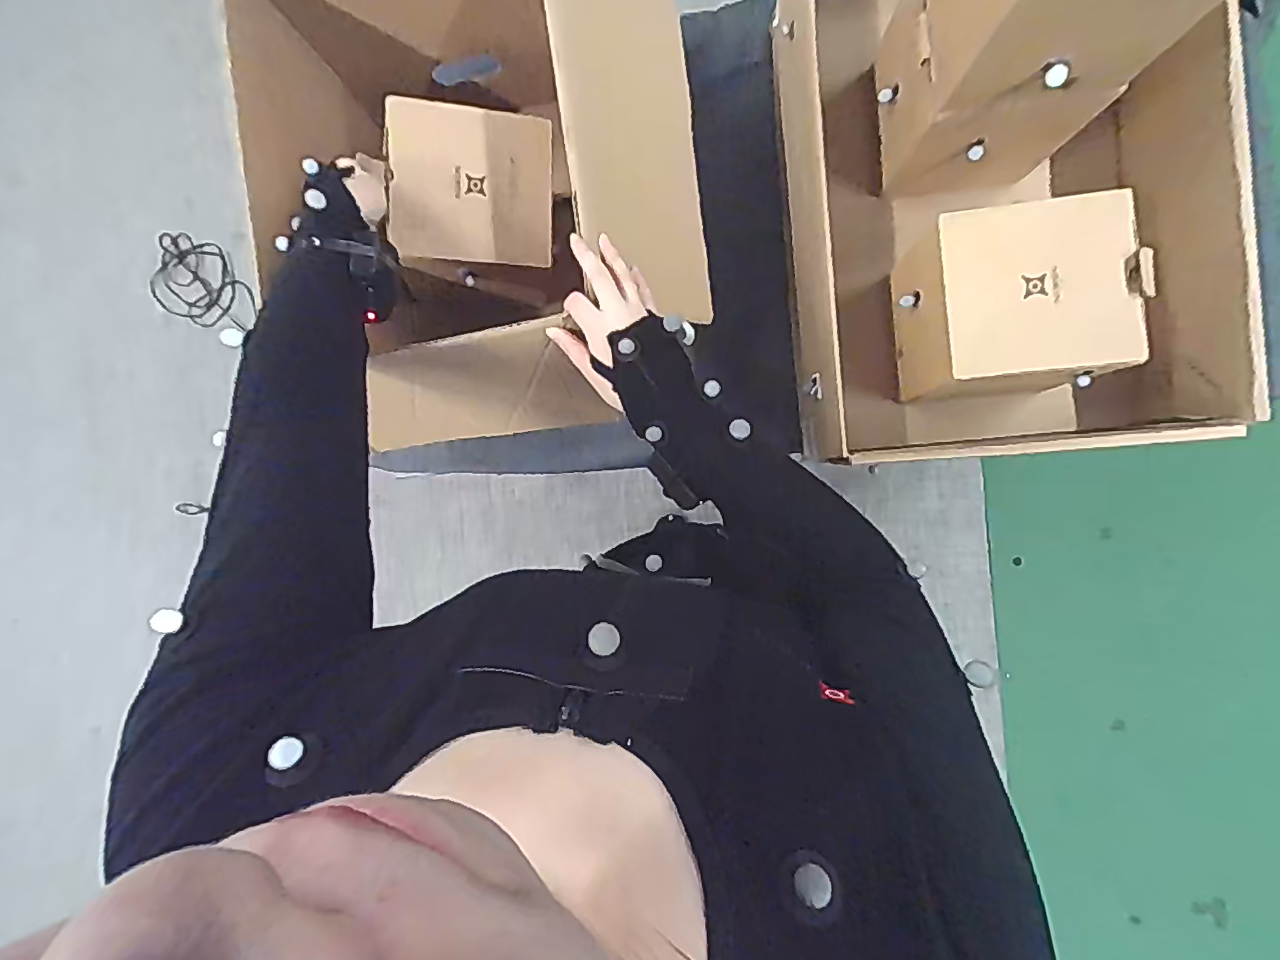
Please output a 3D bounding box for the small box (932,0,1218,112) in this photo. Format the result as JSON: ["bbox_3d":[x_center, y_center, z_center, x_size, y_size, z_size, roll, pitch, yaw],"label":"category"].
[{"bbox_3d":[0.355,-0.444,0.438,0.168,0.176,0.179,-4,93,6],"label":"small box"}]
